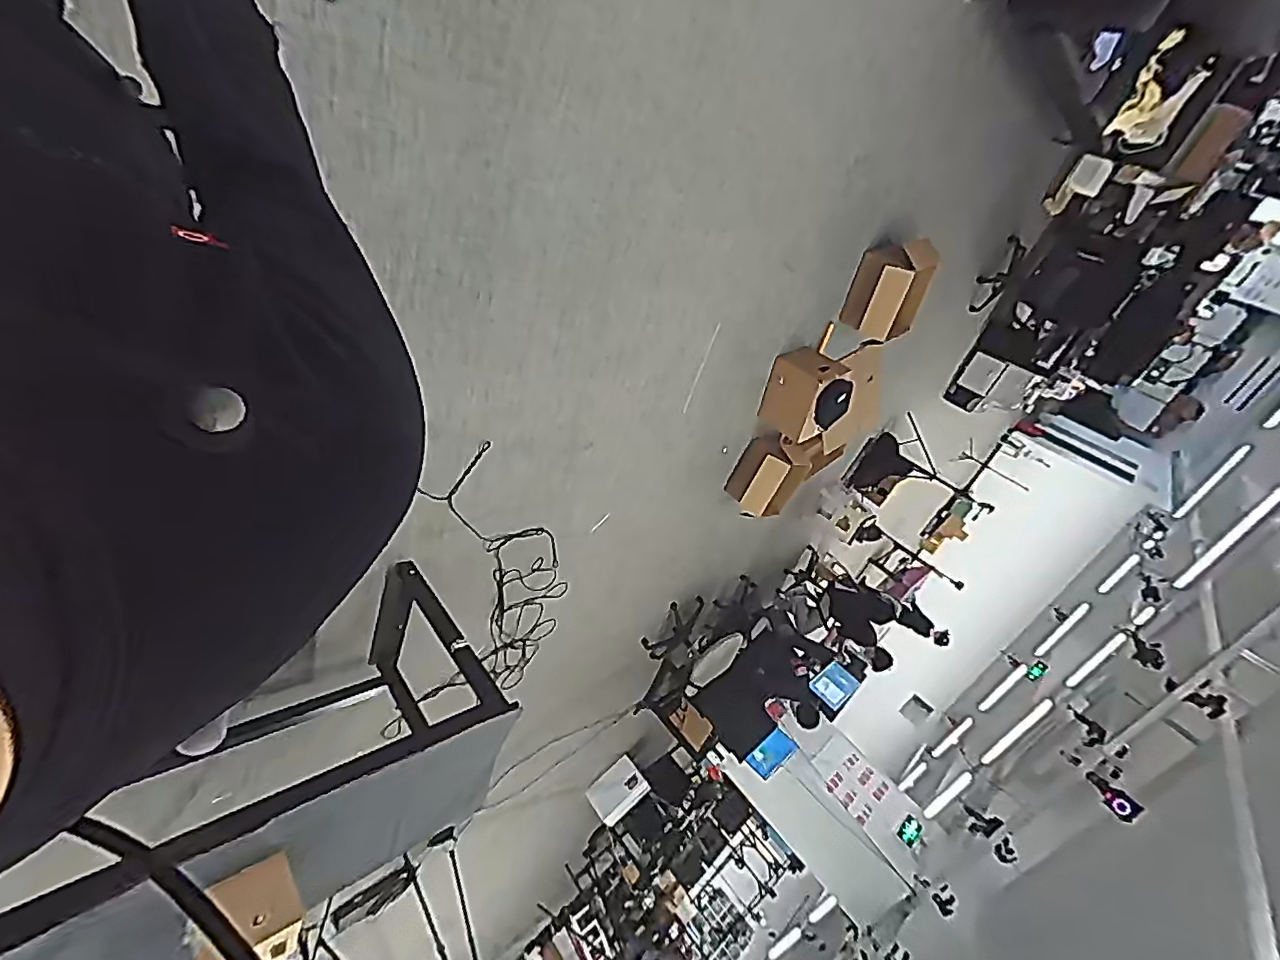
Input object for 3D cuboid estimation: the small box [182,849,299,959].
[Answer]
[{"bbox_3d":[-0.902,0.987,1.218,0.179,0.176,0.168,-5,128,-48],"label":"small box"}]
